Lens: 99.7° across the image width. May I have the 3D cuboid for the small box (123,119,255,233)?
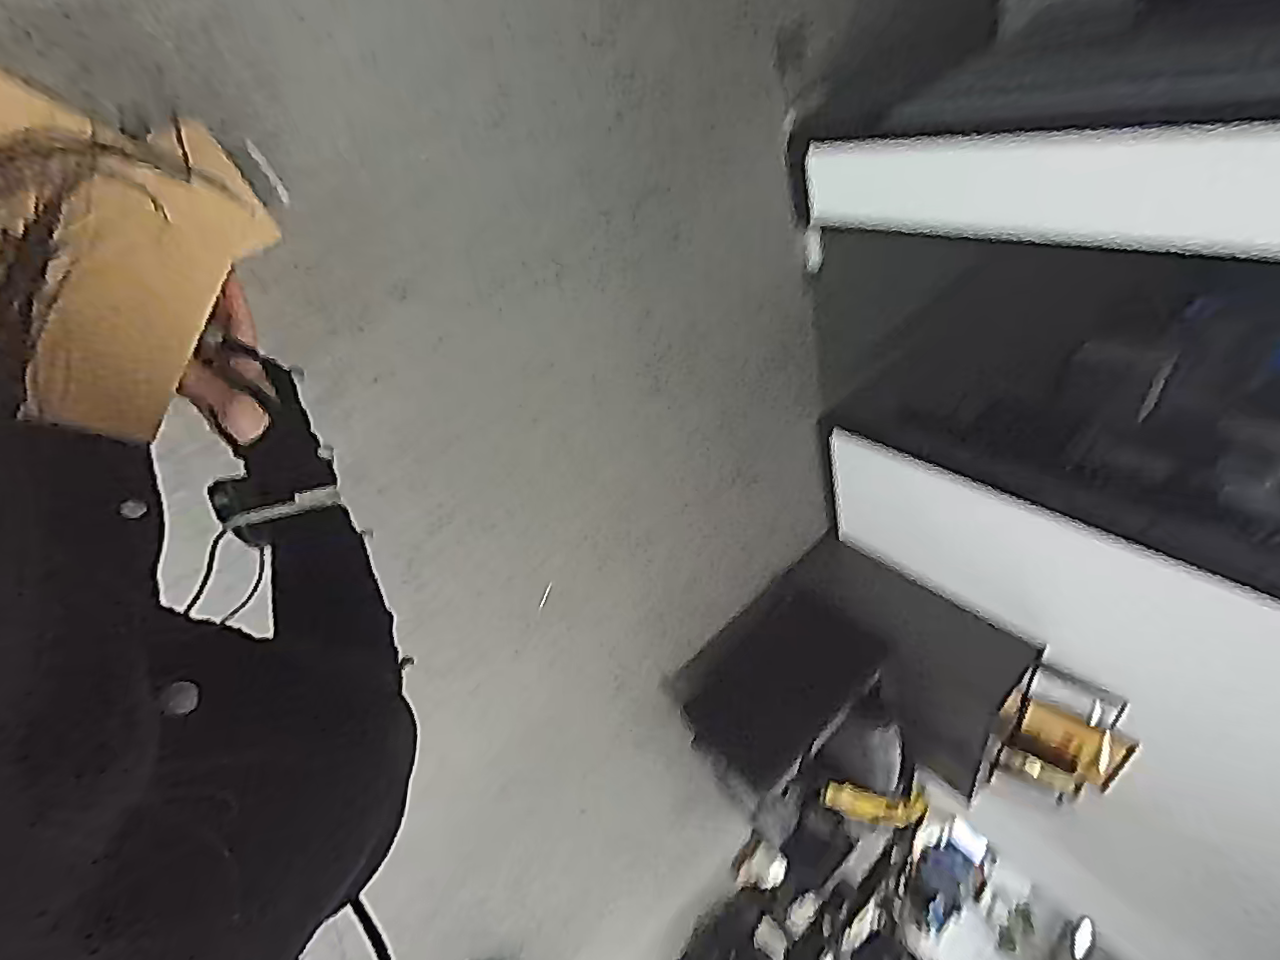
[{"bbox_3d":[-0.811,-0.498,0.926,0.179,0.176,0.168,-36,133,-19],"label":"small box"}]

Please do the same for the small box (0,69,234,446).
[{"bbox_3d":[-0.398,-0.152,0.339,0.168,0.176,0.179,21,105,-51],"label":"small box"}]
